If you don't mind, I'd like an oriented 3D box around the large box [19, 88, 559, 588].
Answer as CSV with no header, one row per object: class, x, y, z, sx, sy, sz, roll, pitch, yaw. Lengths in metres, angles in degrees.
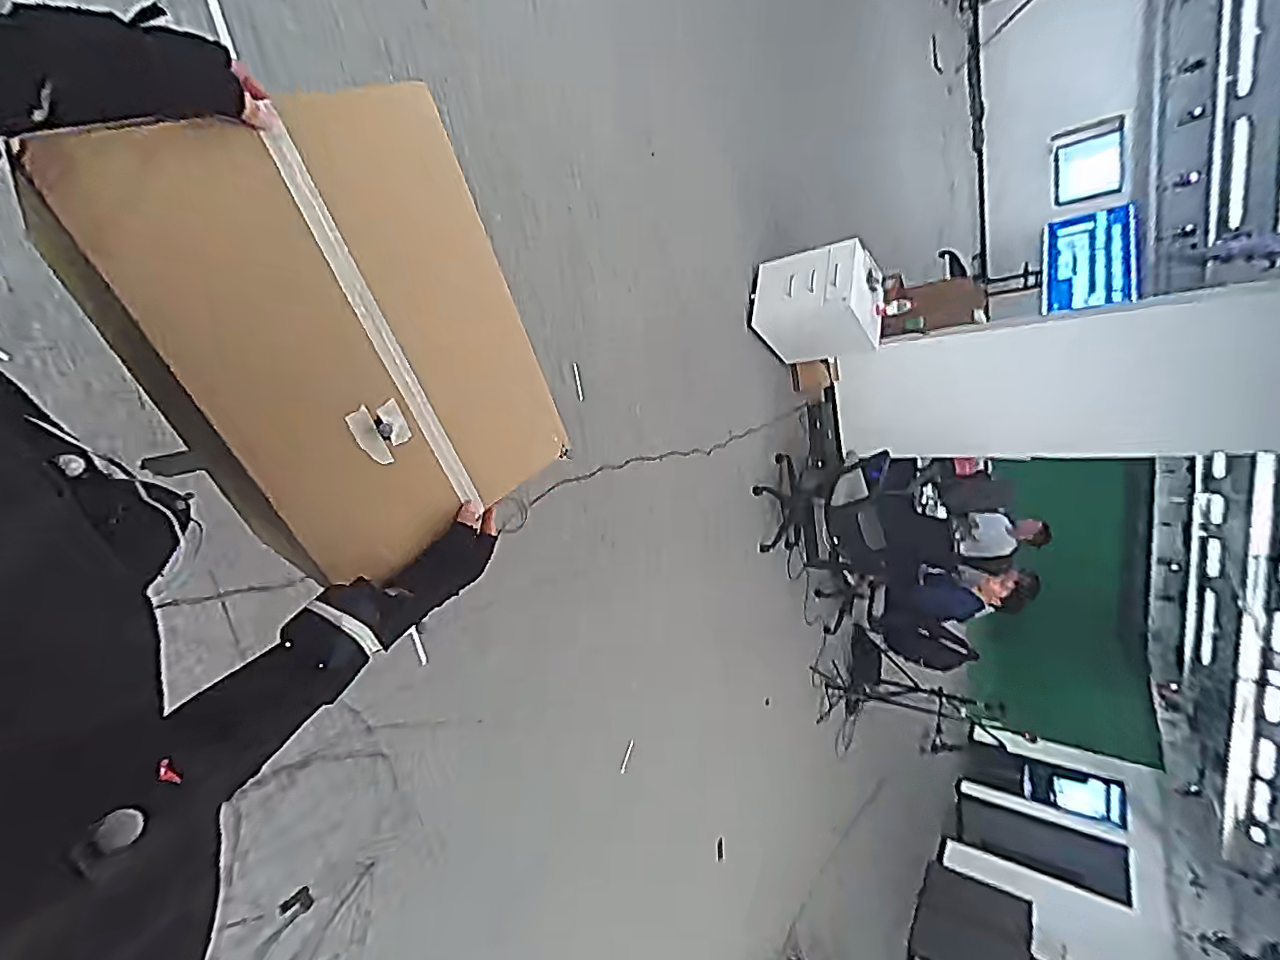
large box,-0.365,-0.153,0.626,0.320,0.320,0.408,-41,126,-35
